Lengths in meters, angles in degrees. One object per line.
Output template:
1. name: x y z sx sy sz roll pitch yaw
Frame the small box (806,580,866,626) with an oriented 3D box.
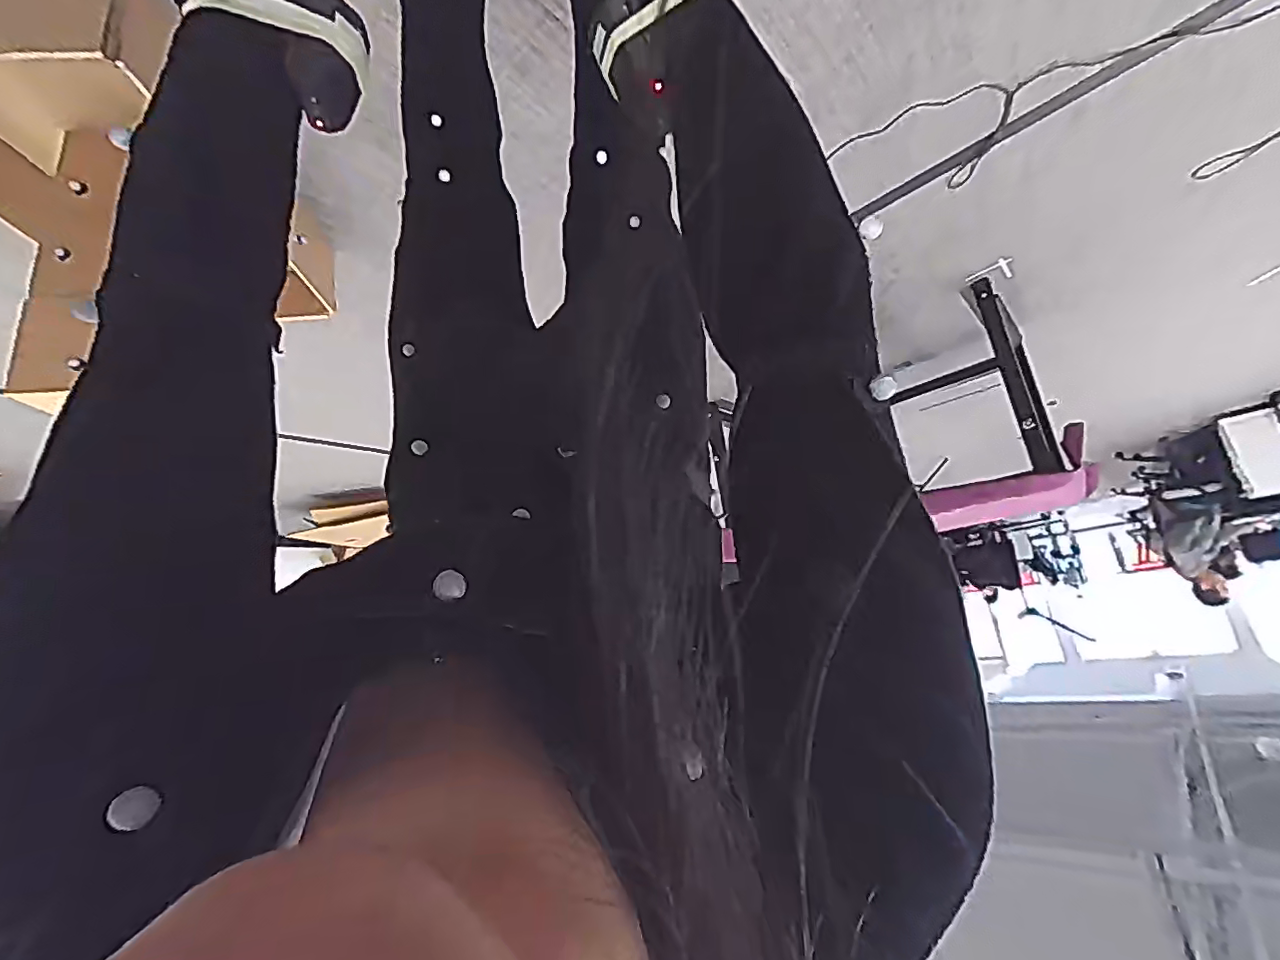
1. small box: 0.815 0.513 2.263 0.168 0.176 0.179 6 159 -43

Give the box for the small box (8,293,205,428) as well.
1. small box: -0.875 -0.199 0.909 0.179 0.176 0.168 -4 165 -6
